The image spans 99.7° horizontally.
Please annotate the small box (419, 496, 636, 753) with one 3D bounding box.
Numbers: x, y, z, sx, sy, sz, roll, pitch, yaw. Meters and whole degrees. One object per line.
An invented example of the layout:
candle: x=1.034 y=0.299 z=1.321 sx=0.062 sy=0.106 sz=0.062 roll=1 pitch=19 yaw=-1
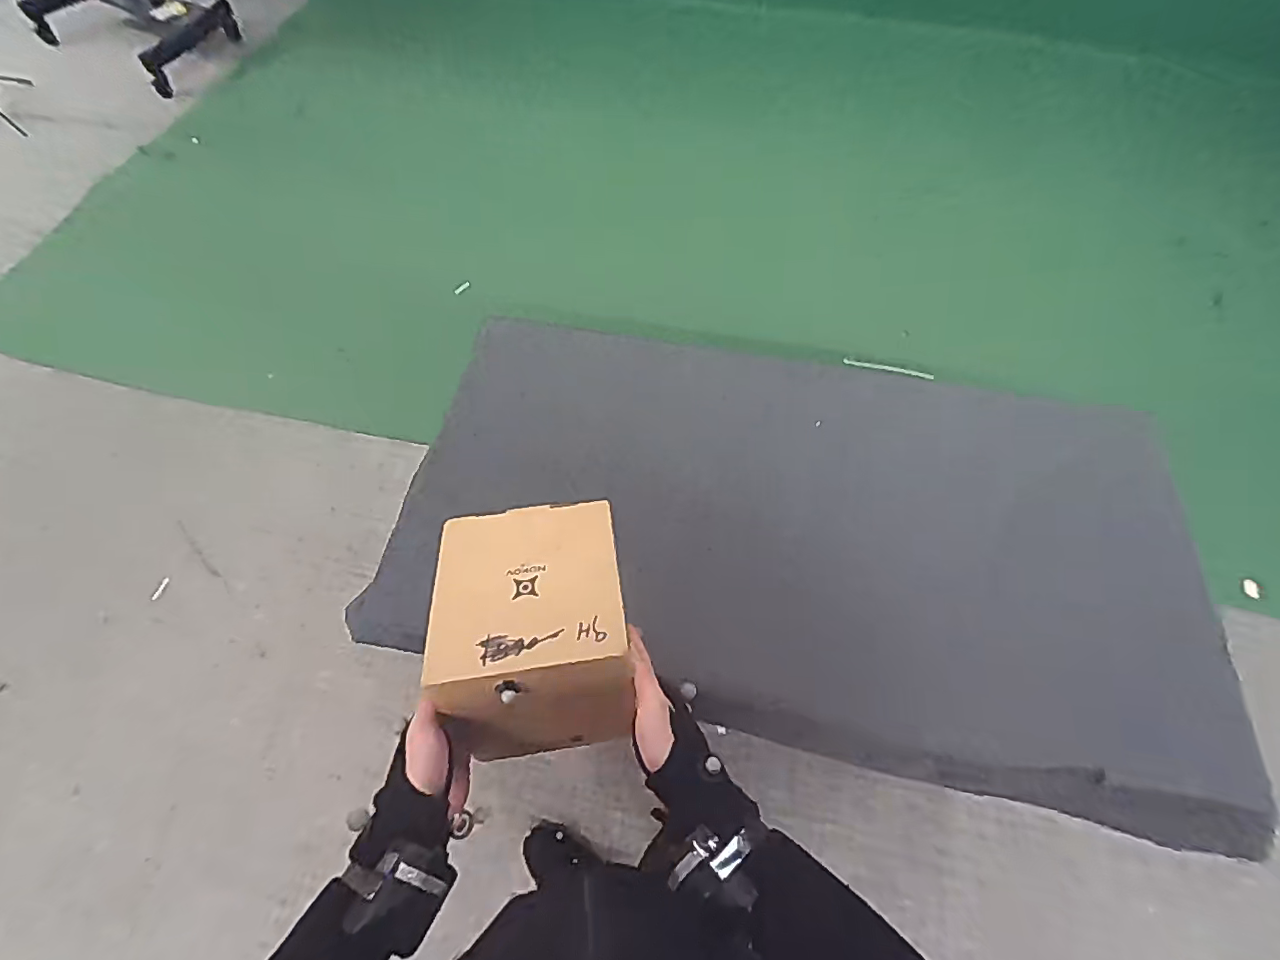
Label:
small box: x=-0.098 y=0.143 z=0.540 sx=0.168 sy=0.176 sz=0.179 roll=-8 pitch=44 yaw=-3
